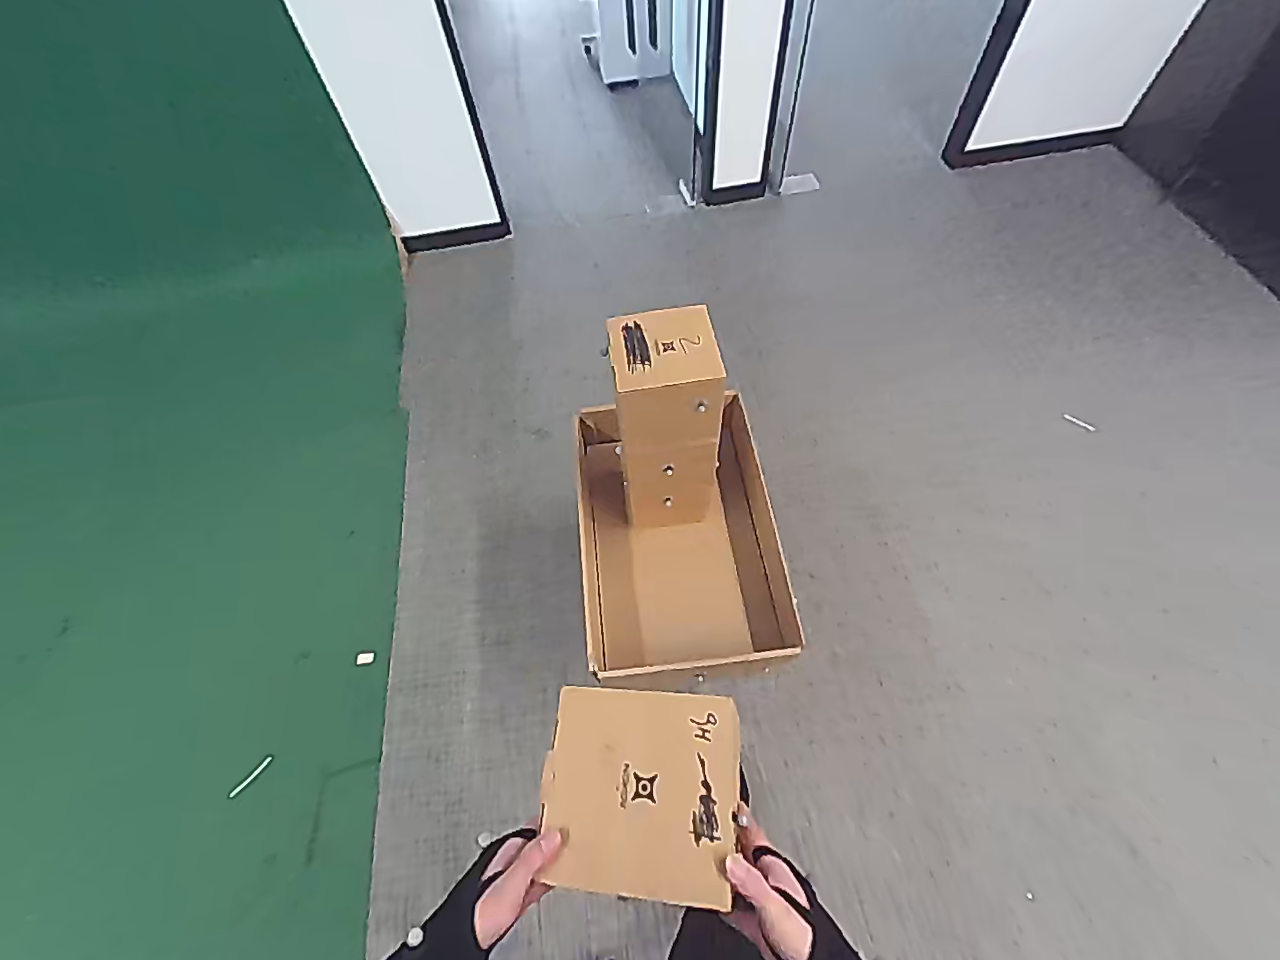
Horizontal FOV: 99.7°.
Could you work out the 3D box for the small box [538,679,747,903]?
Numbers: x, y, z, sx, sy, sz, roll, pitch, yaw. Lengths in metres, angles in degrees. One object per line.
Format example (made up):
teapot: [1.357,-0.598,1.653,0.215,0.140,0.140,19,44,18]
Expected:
small box: [0.018,0.313,0.562,0.179,0.176,0.168,-1,61,13]

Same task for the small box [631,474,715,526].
small box: [0.065,-0.010,1.219,0.179,0.176,0.168,-7,60,0]

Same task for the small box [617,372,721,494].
small box: [0.055,-0.088,1.075,0.179,0.176,0.168,-9,60,0]
